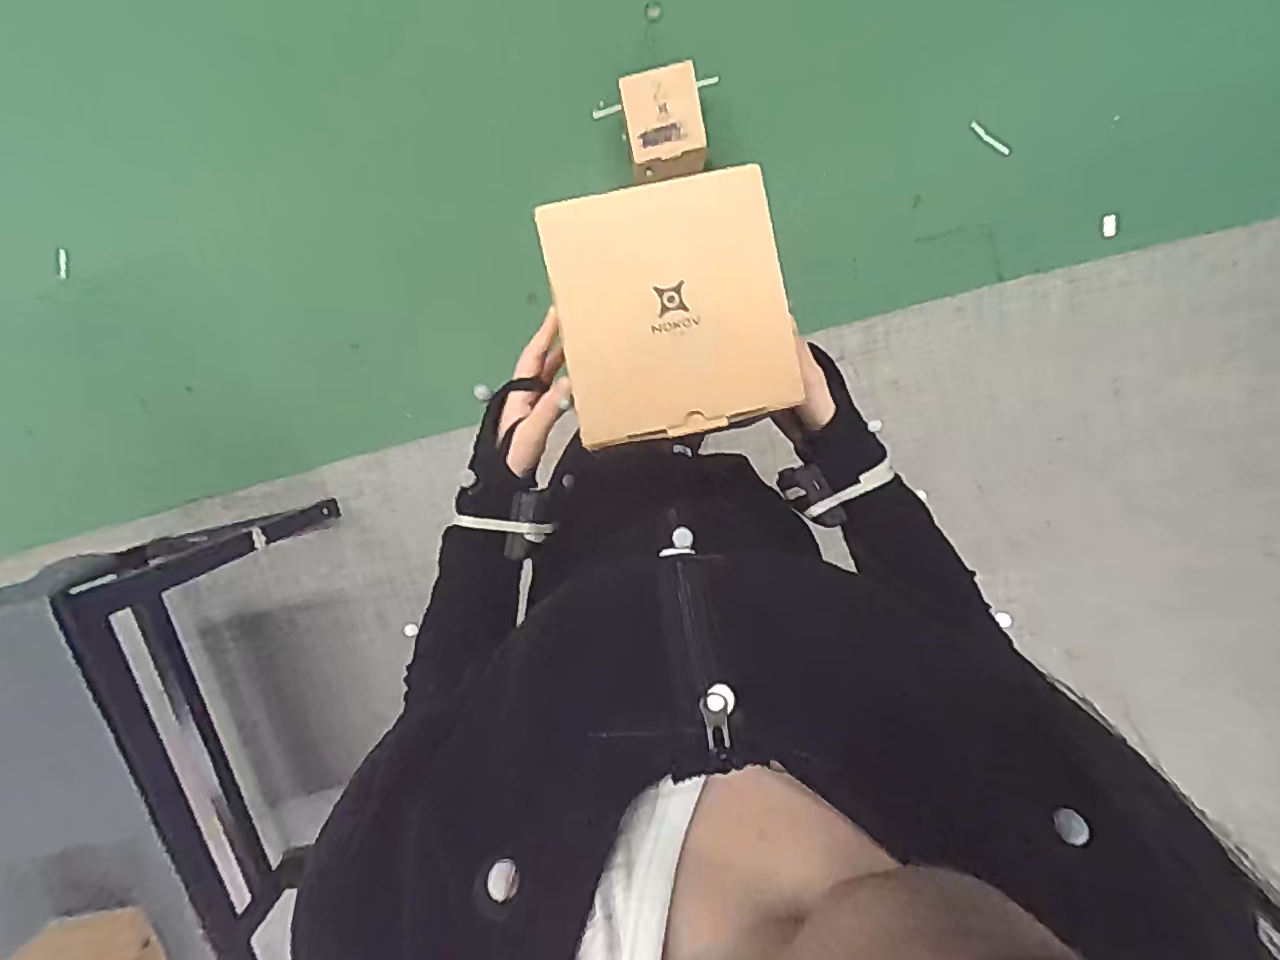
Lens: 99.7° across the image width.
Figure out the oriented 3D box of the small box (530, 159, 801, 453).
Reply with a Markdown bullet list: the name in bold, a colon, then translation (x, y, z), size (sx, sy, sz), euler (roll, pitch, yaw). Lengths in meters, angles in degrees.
- **small box**: translation (0.015, -0.127, 0.459), size (0.168, 0.176, 0.179), euler (-13, 91, -2)

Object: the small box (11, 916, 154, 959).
- **small box**: translation (-0.920, 0.837, 0.848), size (0.179, 0.176, 0.168), euler (-12, 100, 5)
